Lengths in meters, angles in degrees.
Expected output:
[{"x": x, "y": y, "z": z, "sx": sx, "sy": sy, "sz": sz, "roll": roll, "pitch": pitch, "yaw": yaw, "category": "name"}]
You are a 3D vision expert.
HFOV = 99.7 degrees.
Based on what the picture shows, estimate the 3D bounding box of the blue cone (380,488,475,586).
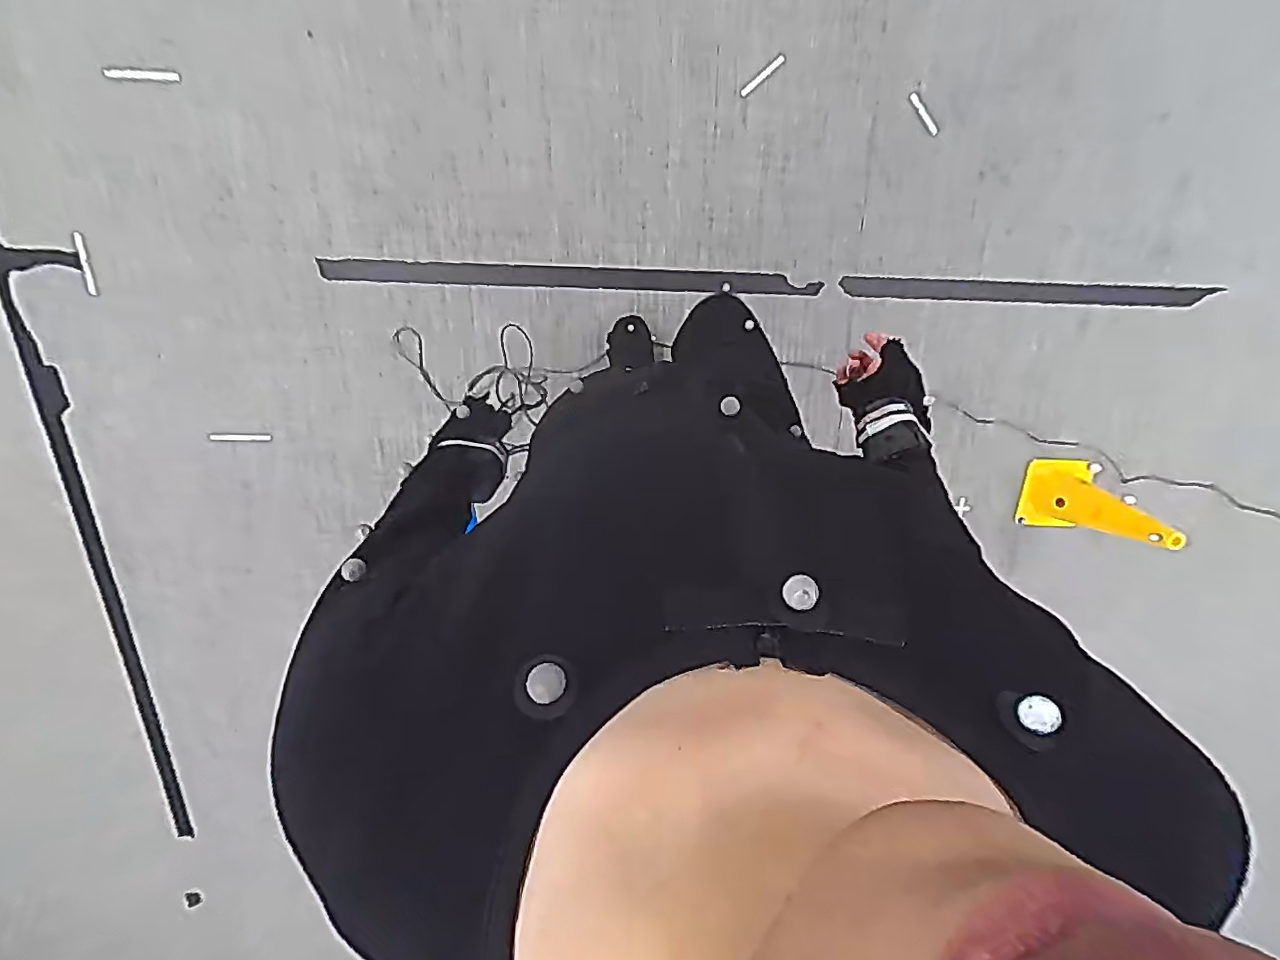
[{"x": -0.546, "y": 0.167, "z": 1.327, "sx": 0.193, "sy": 0.380, "sz": 0.192, "roll": -5, "pitch": 107, "yaw": -2, "category": "blue cone"}]
